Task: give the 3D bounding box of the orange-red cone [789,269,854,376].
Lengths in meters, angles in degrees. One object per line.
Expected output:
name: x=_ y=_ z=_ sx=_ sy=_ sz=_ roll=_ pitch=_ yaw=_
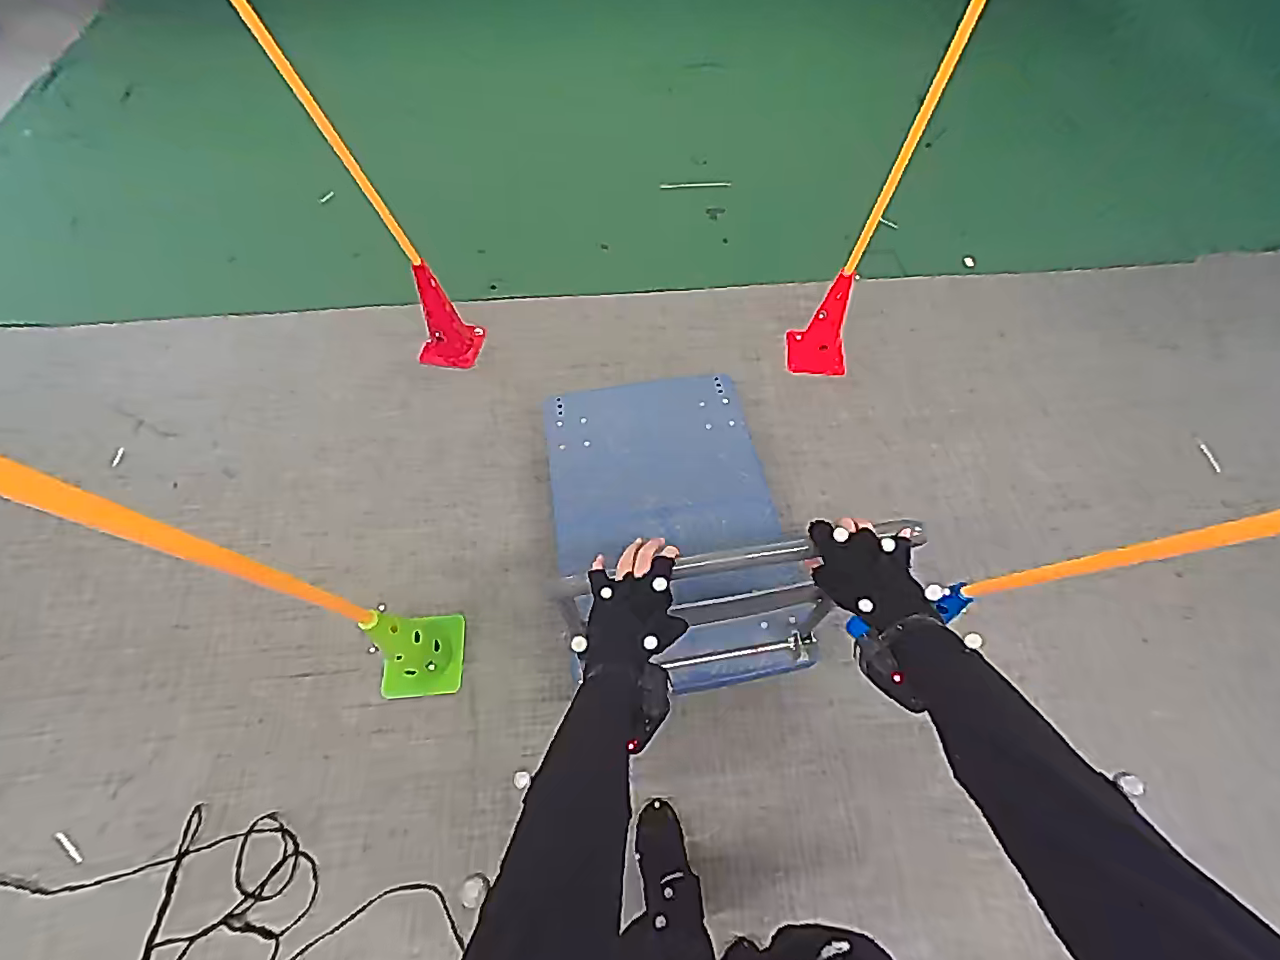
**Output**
orange-red cone: x=0.625 y=-0.530 z=1.762 sx=0.198 sy=0.360 sz=0.199 roll=6 pitch=62 yaw=4
